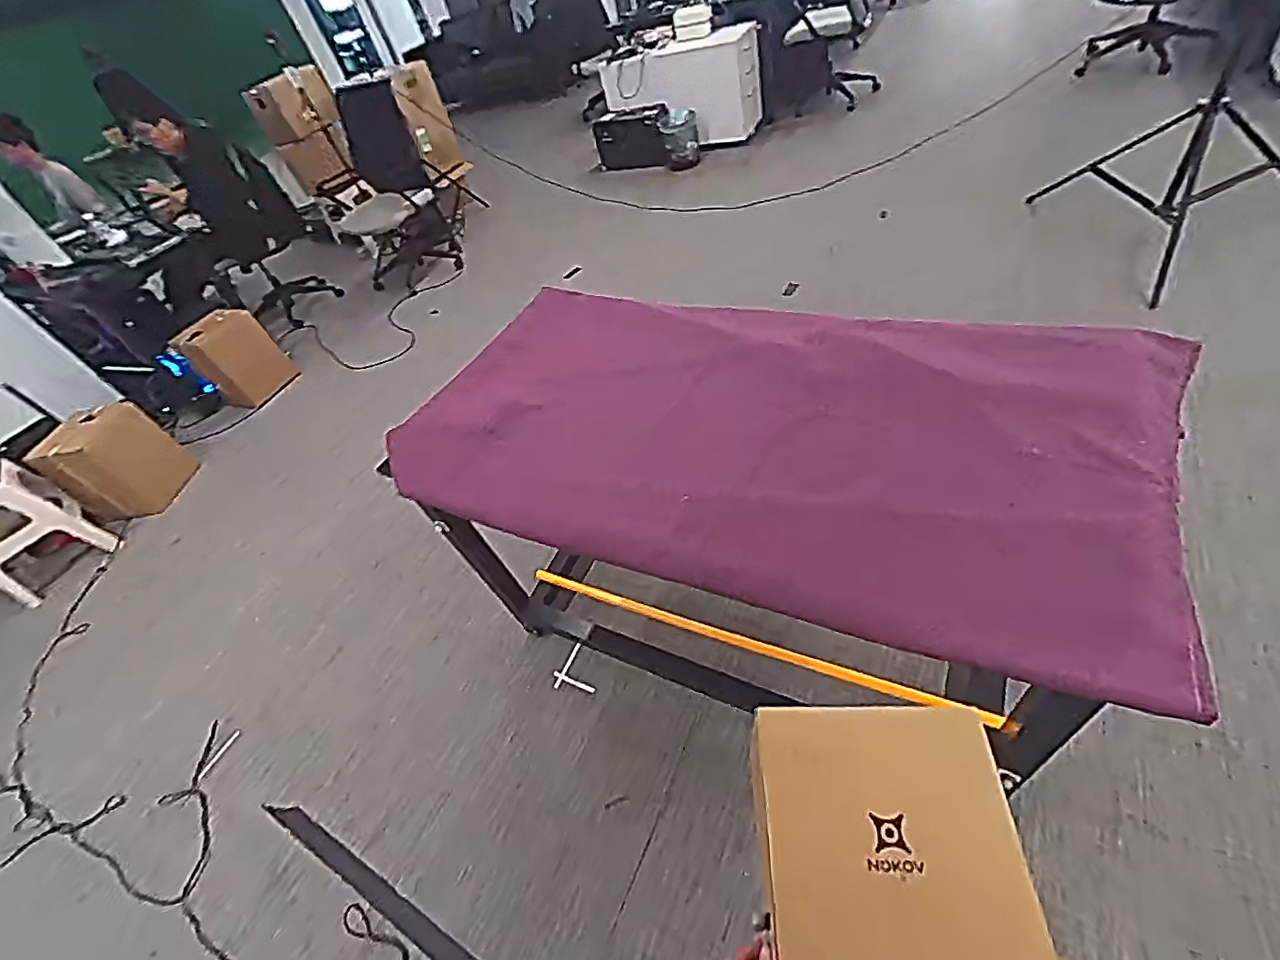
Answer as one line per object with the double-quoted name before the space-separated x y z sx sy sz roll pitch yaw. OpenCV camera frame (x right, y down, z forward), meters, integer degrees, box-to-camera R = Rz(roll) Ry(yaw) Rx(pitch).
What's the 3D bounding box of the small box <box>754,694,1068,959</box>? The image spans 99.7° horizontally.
"small box" 0.181 0.282 0.424 0.168 0.176 0.179 -3 53 8
